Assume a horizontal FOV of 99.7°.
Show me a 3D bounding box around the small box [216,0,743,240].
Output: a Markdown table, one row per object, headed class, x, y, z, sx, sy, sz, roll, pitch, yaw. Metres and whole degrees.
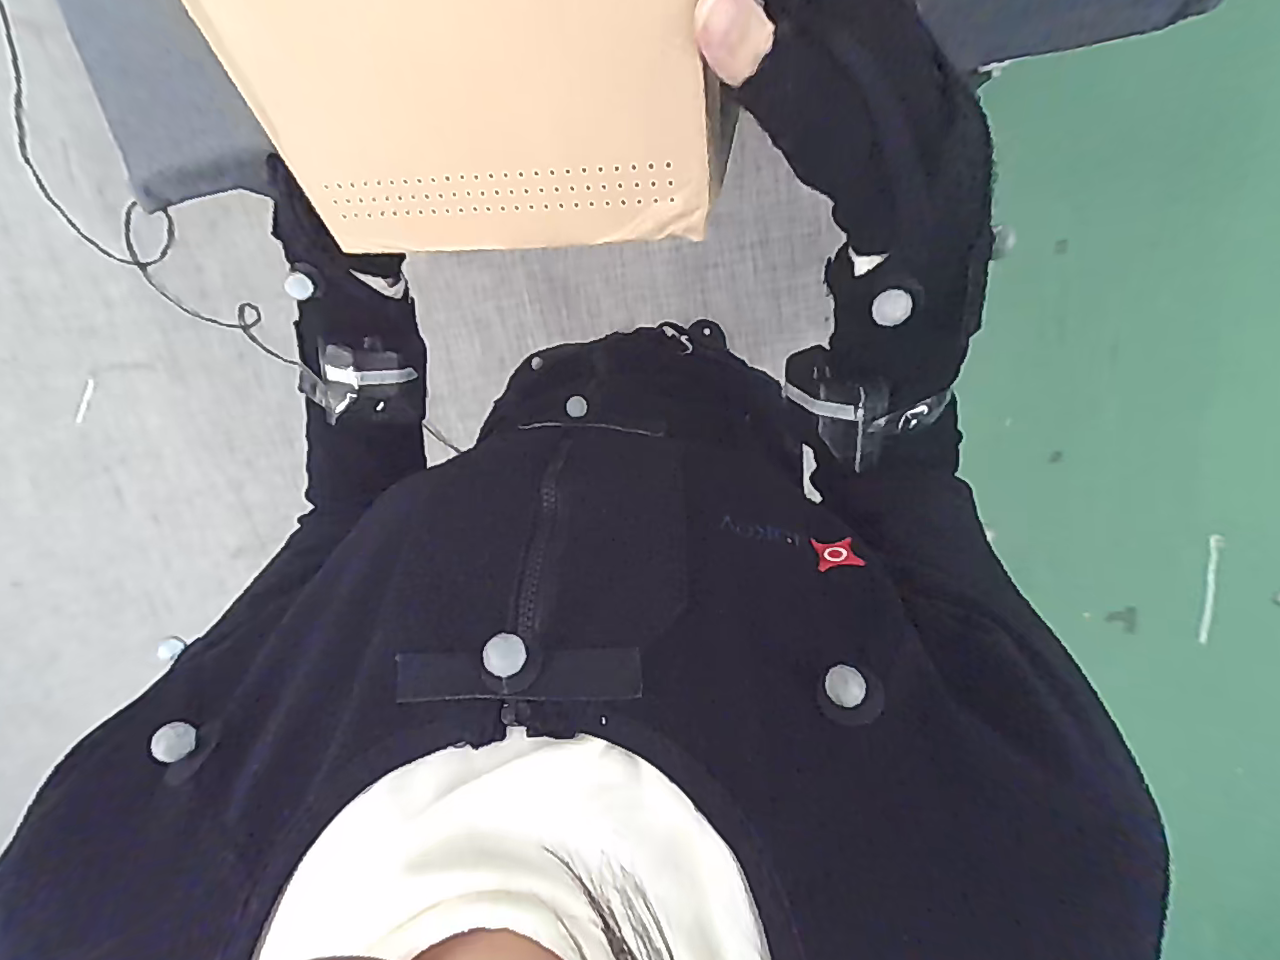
| class | x | y | z | sx | sy | sz | roll | pitch | yaw |
| --- | --- | --- | --- | --- | --- | --- | --- | --- | --- |
| small box | -0.055 | -0.217 | 0.219 | 0.179 | 0.168 | 0.176 | 6 | 146 | 13 |
